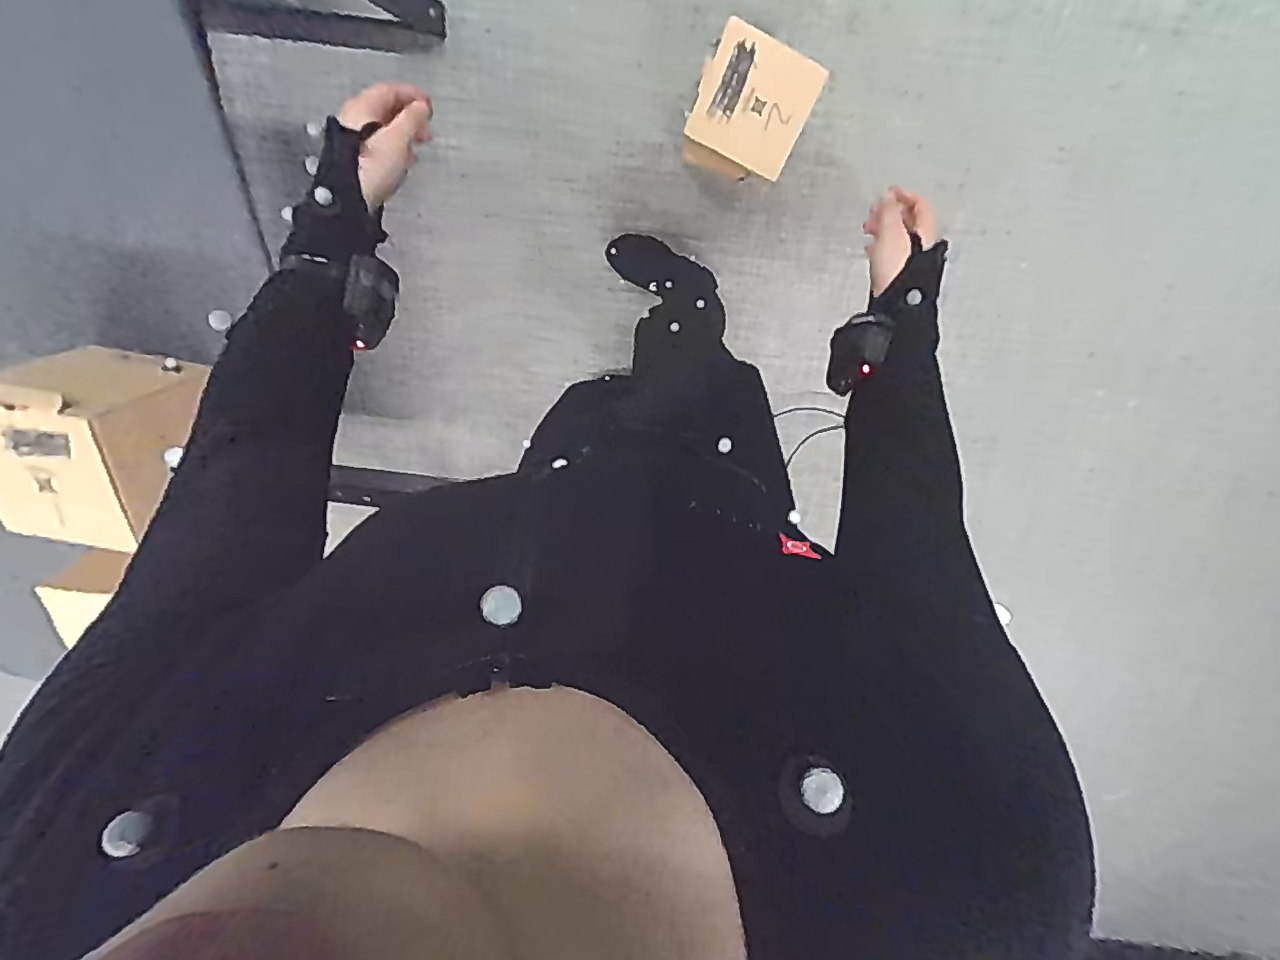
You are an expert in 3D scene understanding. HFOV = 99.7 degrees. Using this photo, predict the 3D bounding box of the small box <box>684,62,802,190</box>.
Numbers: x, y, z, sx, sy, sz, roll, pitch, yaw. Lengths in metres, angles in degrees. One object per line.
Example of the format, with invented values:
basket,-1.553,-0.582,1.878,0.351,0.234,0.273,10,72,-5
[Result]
small box,0.192,-0.690,1.068,0.179,0.176,0.168,14,118,-4
